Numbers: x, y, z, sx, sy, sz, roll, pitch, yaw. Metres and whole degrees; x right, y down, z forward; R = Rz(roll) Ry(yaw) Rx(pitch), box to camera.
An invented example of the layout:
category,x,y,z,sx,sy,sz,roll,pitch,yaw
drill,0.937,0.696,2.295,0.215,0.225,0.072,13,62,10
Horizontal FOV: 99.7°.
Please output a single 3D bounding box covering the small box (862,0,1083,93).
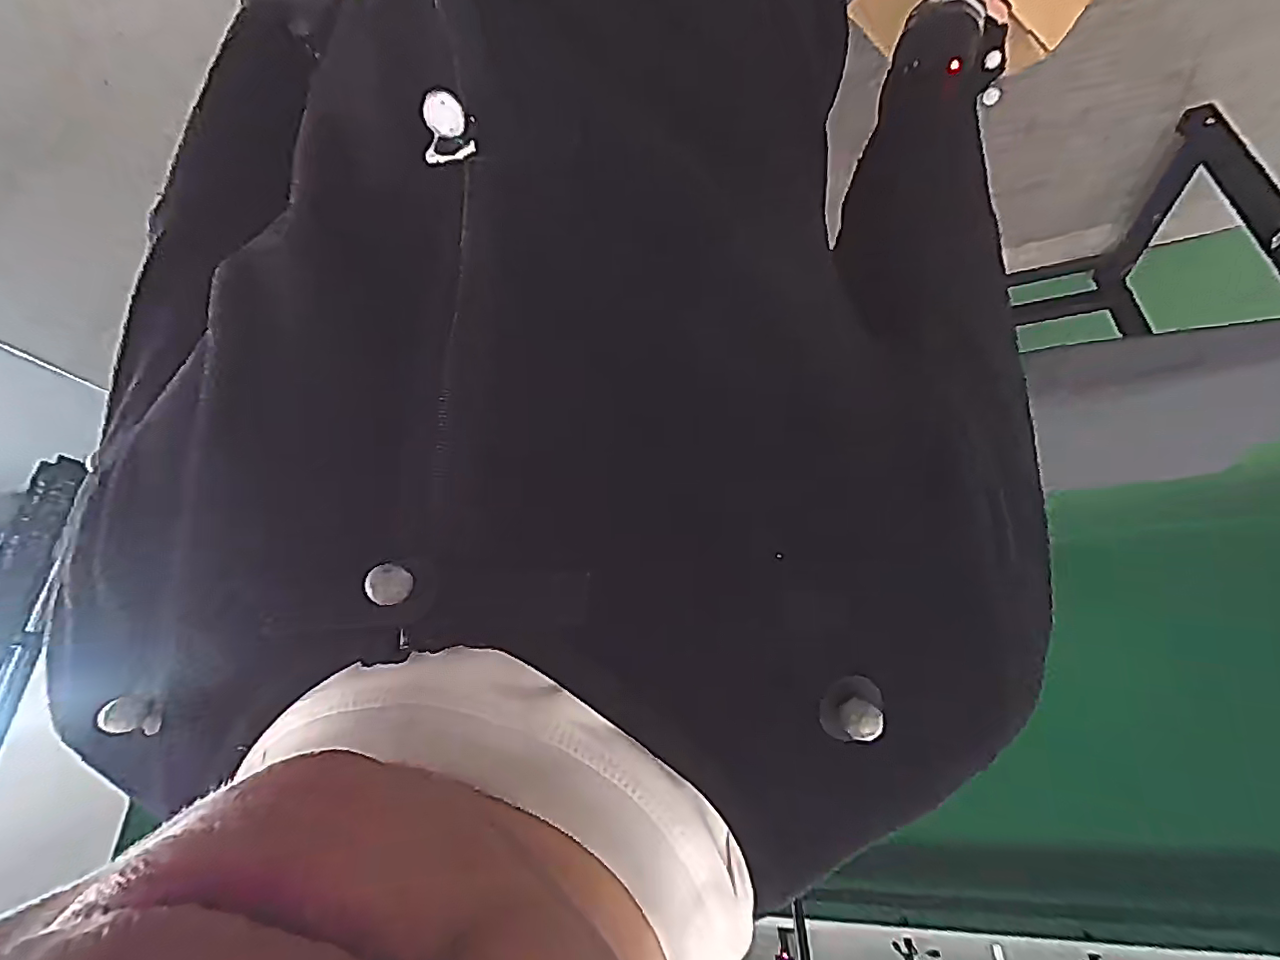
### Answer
category,x,y,z,sx,sy,sz,roll,pitch,yaw
small box,0.358,-0.546,0.550,0.168,0.176,0.179,32,103,-20
